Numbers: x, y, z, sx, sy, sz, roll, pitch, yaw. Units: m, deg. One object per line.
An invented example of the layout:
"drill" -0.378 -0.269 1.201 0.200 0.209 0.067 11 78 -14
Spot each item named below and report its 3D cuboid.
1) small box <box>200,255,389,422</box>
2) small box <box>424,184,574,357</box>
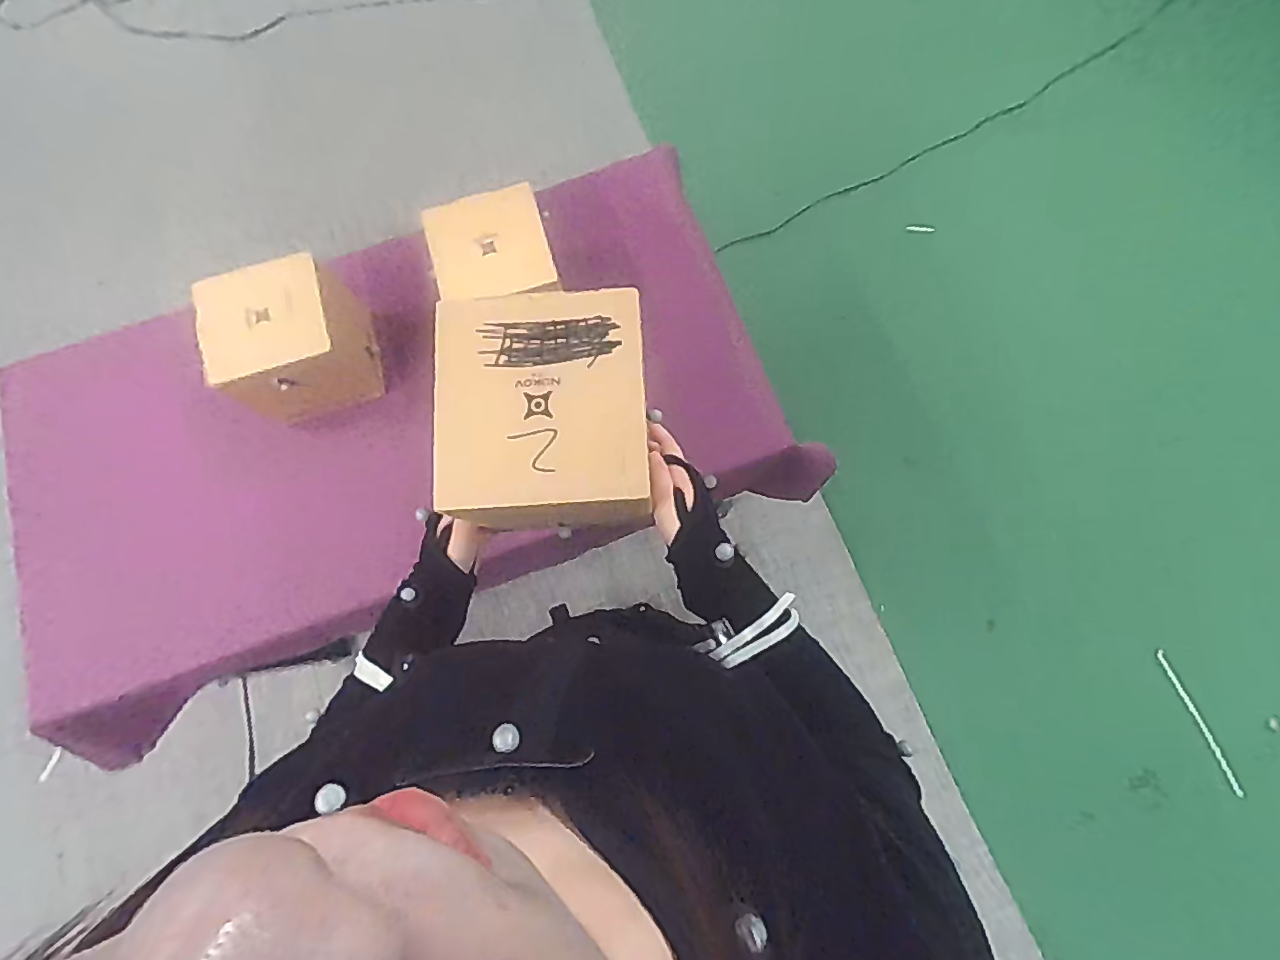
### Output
"small box" -0.520 -0.206 0.832 0.179 0.176 0.168 -17 77 -3
"small box" -0.210 -0.312 0.846 0.168 0.176 0.179 -17 75 -2
